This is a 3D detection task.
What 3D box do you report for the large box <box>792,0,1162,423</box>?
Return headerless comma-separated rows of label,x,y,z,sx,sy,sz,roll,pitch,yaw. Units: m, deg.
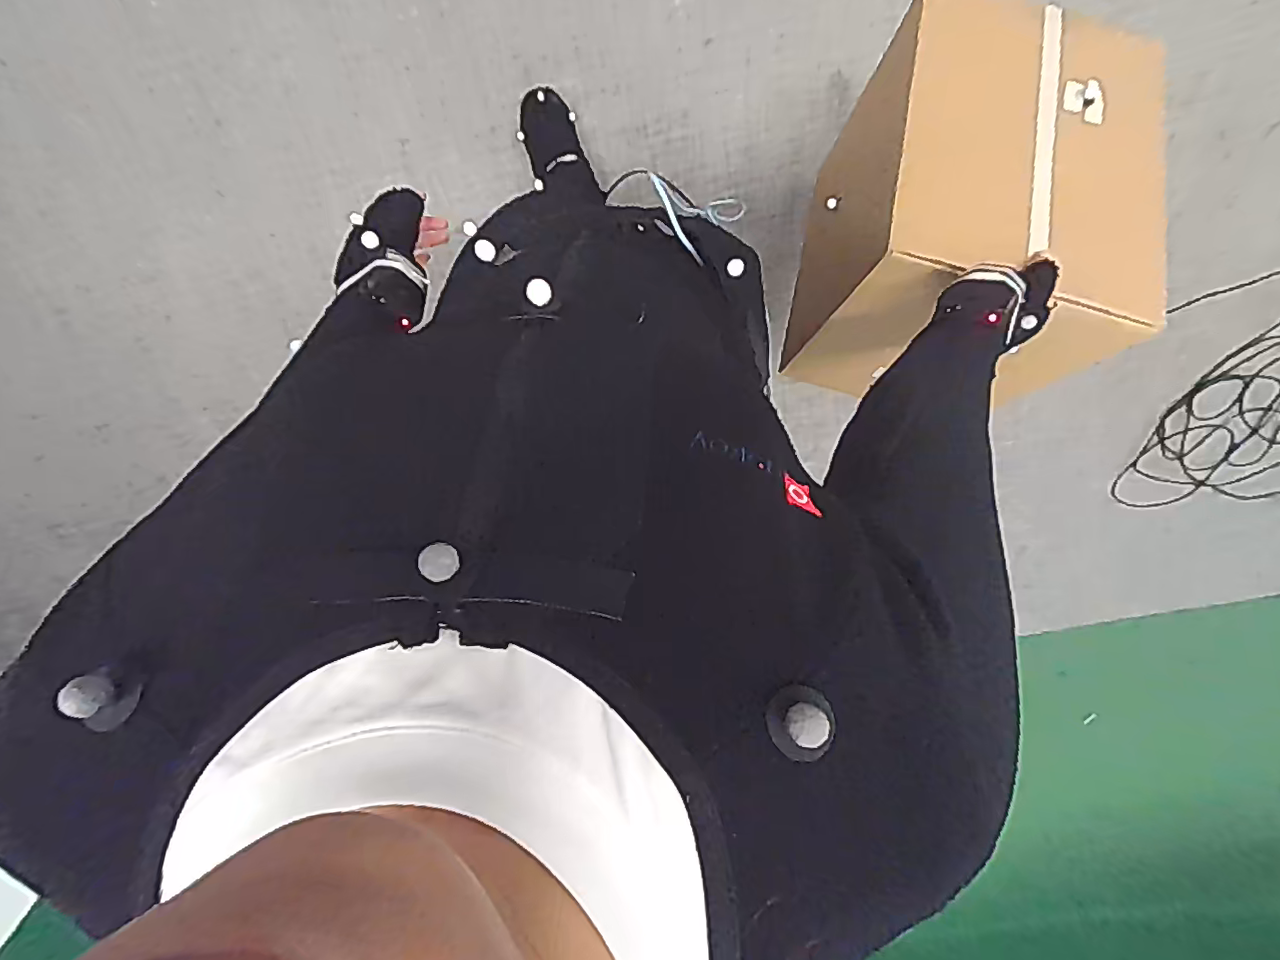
large box,0.439,-0.341,0.764,0.320,0.408,0.320,15,165,-4
